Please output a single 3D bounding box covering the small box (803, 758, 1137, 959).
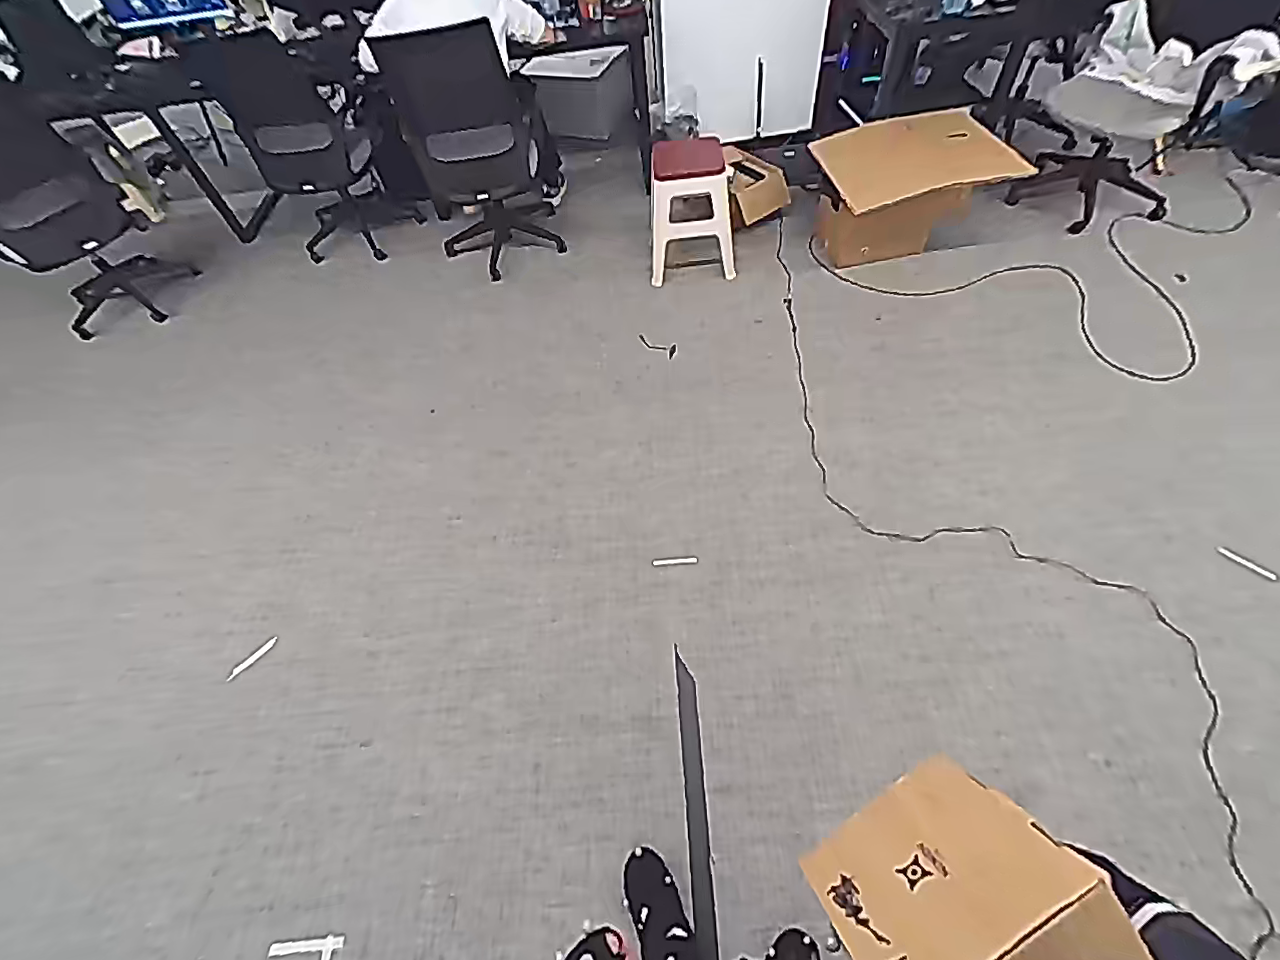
[{"bbox_3d":[0.278,0.389,0.453,0.179,0.168,0.176,-32,93,-5],"label":"small box"}]
